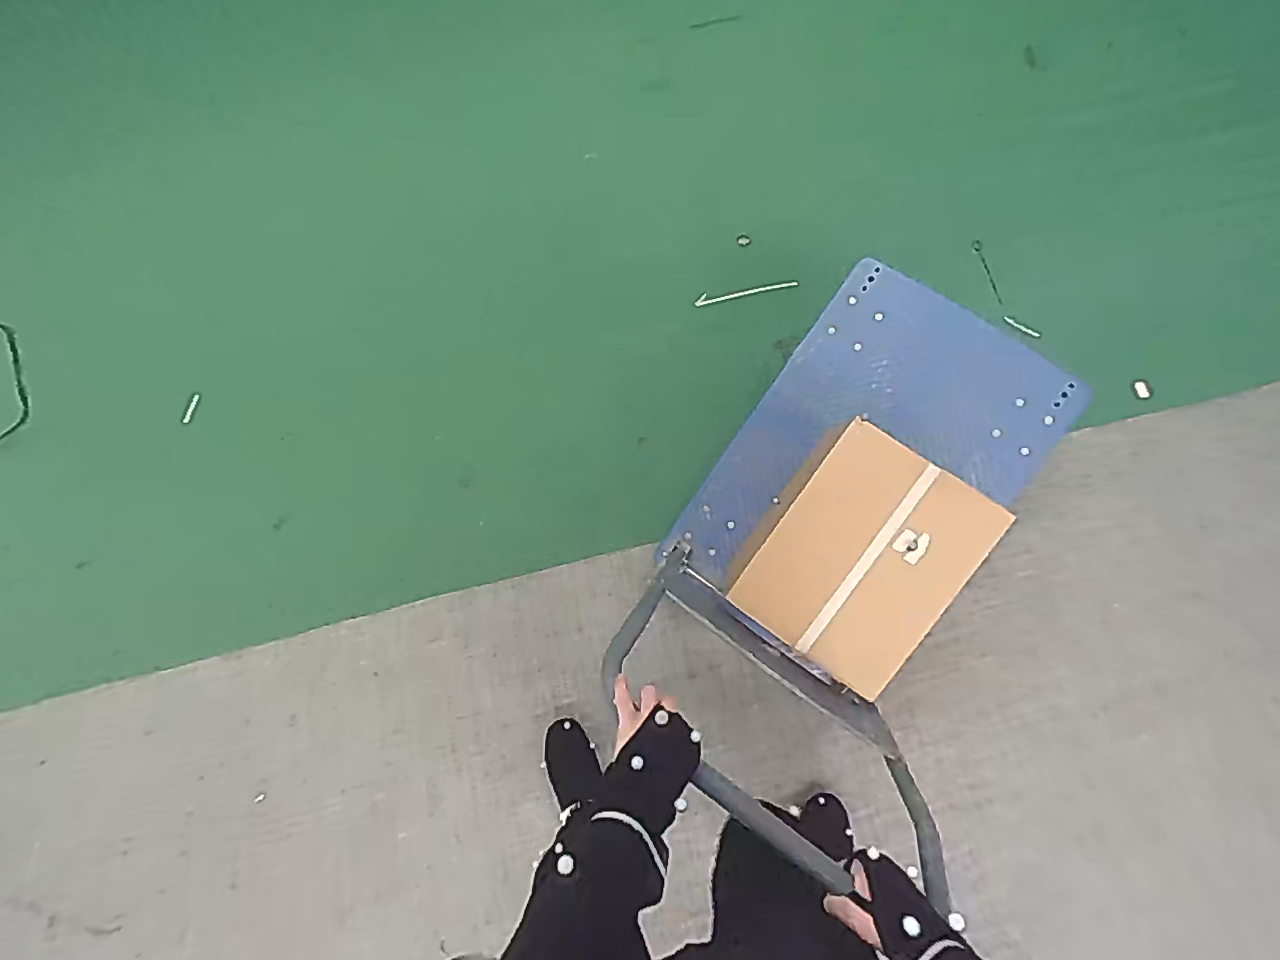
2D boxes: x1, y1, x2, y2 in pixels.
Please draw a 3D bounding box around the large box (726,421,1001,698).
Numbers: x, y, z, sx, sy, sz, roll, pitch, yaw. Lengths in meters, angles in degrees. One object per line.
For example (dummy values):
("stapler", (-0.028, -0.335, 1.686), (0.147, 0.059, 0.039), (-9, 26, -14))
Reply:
("large box", (0.411, 0.145, 1.107), (0.320, 0.320, 0.408), (35, 94, 7))
